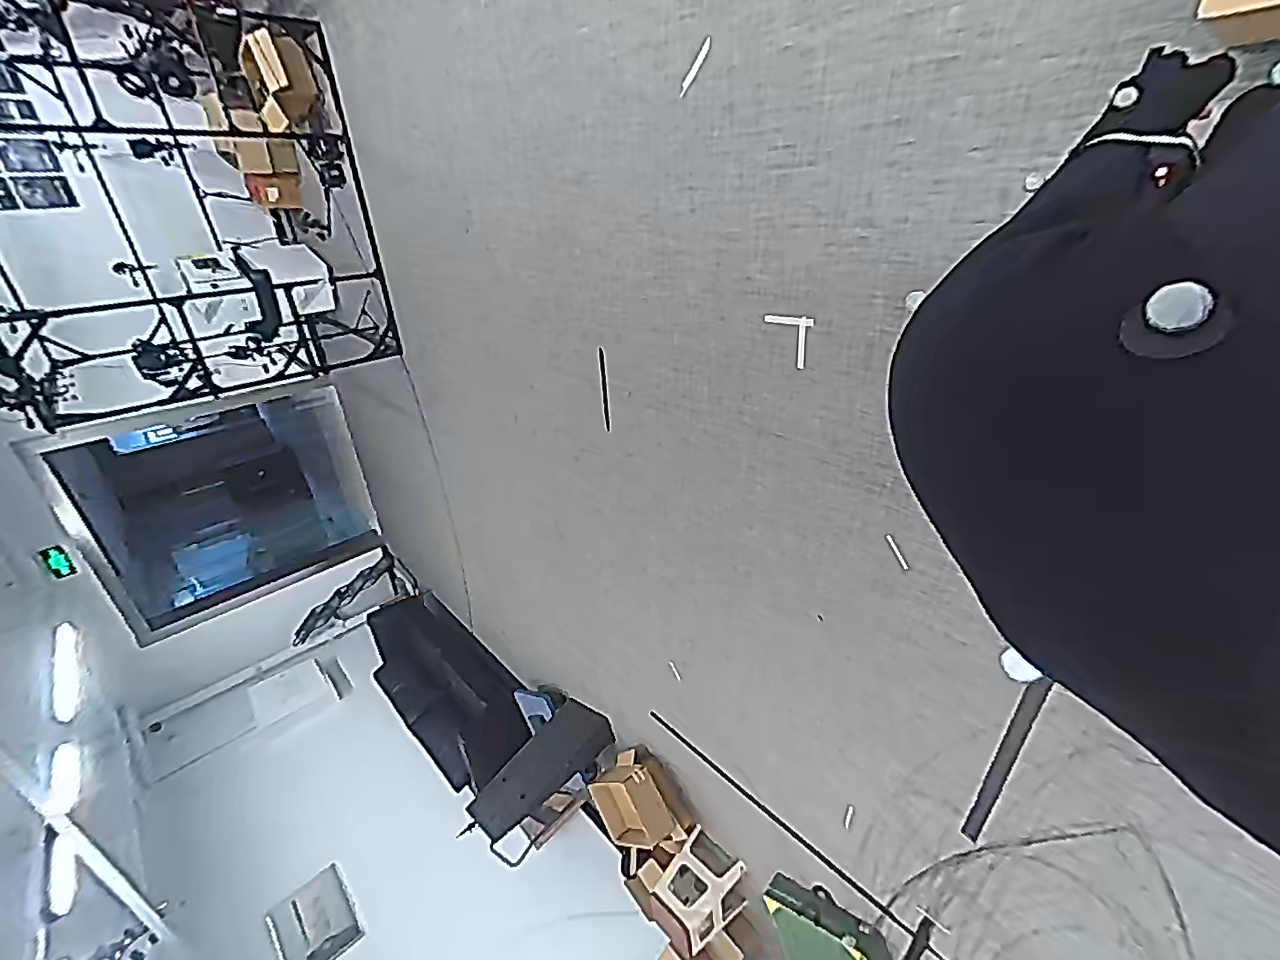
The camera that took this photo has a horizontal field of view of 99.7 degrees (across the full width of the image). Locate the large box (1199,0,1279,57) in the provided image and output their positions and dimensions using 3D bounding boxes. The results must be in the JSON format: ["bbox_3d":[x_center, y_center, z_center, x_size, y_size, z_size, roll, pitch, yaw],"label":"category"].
[{"bbox_3d":[0.996,-0.749,0.631,0.408,0.320,0.320,23,127,42],"label":"large box"}]
